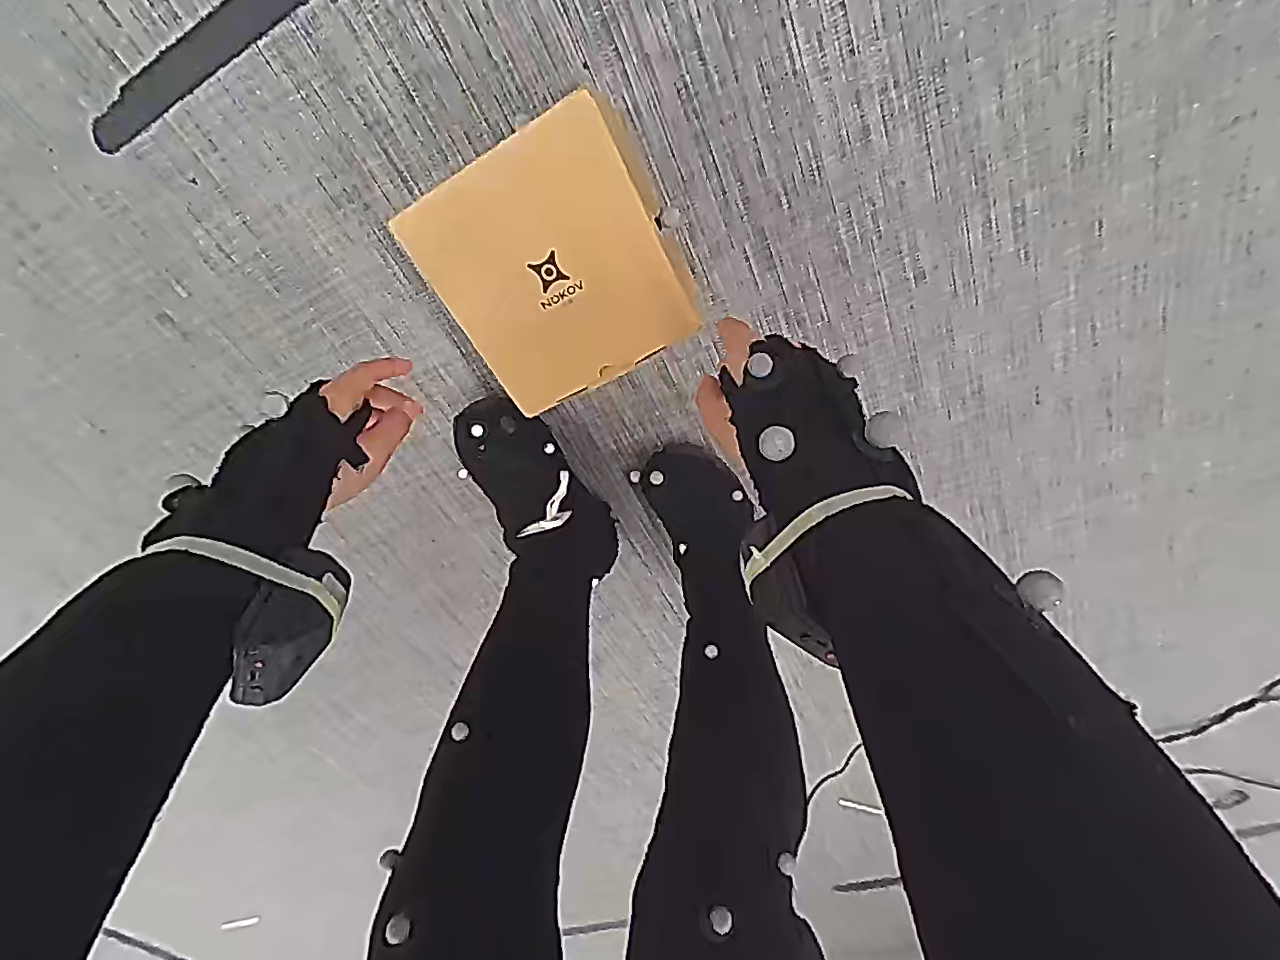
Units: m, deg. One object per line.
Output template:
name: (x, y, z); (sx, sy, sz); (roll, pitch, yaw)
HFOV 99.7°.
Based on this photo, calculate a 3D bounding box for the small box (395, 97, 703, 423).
small box: (-0.061, -0.185, 0.461); (0.168, 0.176, 0.179); (-24, 120, 16)
